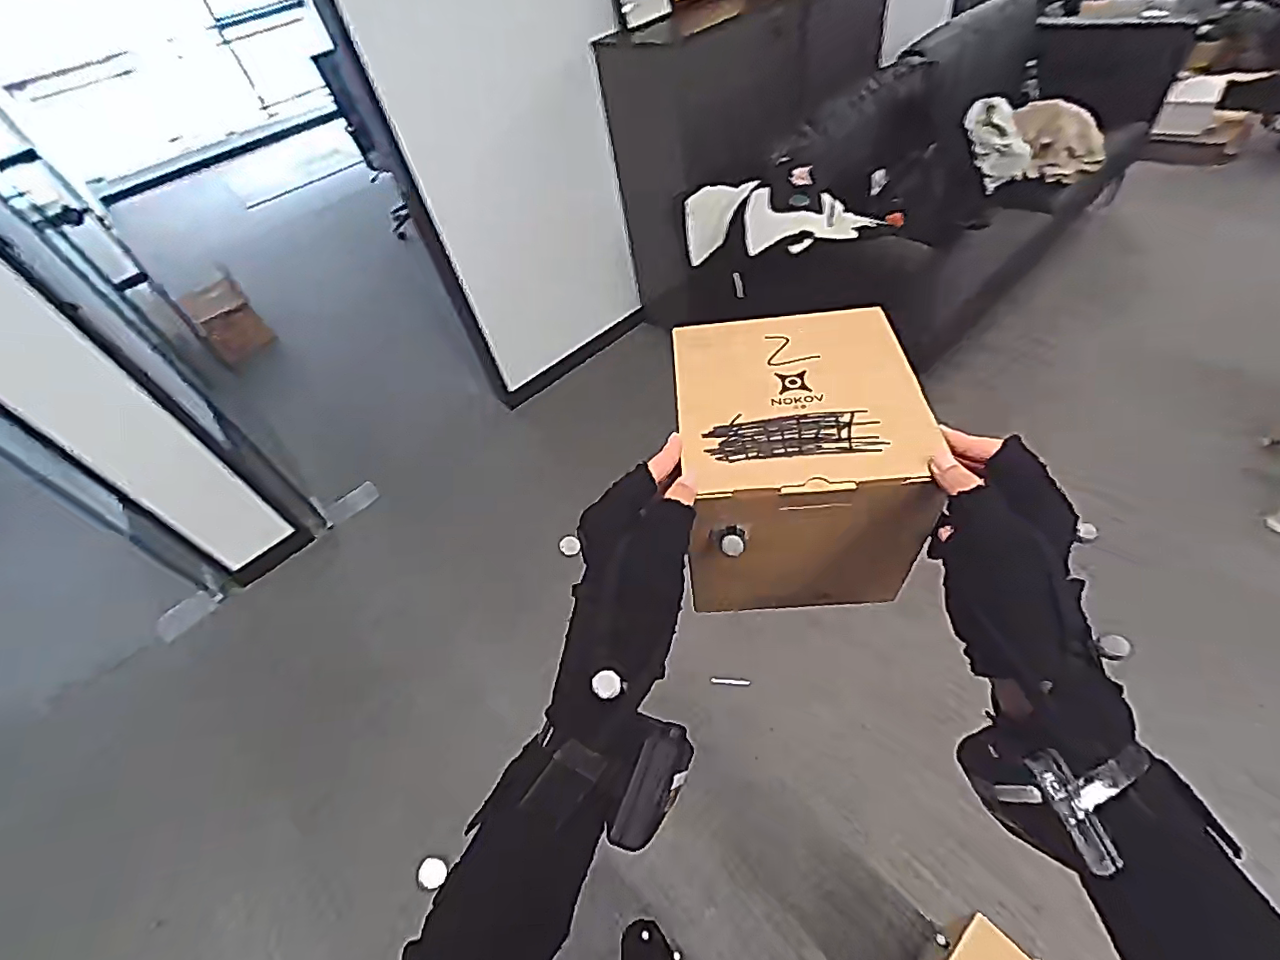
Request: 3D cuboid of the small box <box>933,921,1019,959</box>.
[{"bbox_3d":[0.531,0.823,0.817,0.168,0.176,0.179,-38,52,-21],"label":"small box"}]
